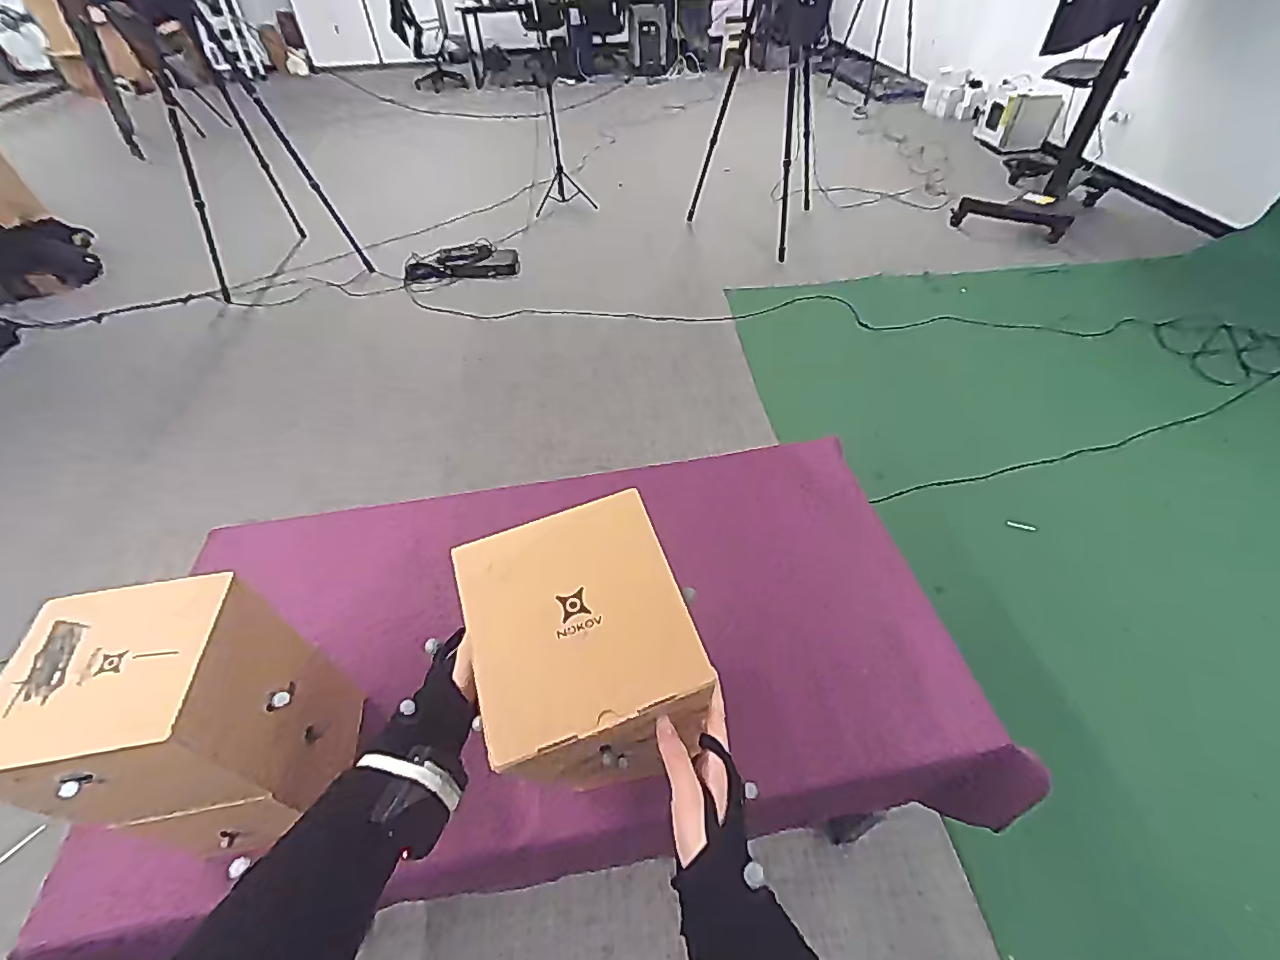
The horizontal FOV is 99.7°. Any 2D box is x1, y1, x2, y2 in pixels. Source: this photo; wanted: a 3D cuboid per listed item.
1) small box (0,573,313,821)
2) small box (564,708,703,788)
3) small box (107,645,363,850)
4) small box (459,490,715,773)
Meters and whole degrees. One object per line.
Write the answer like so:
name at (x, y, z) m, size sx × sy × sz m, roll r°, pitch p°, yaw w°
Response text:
small box at (-0.472, 0.219, 0.541) m, size 0.179 × 0.176 × 0.168 m, roll -8°, pitch 47°, yaw -6°
small box at (-0.022, 0.273, 0.693) m, size 0.179 × 0.176 × 0.168 m, roll -10°, pitch 47°, yaw -5°
small box at (-0.465, 0.331, 0.661) m, size 0.168 × 0.176 × 0.179 m, roll -8°, pitch 46°, yaw -5°
small box at (-0.047, 0.142, 0.490) m, size 0.168 × 0.176 × 0.179 m, roll -18°, pitch 60°, yaw -8°
